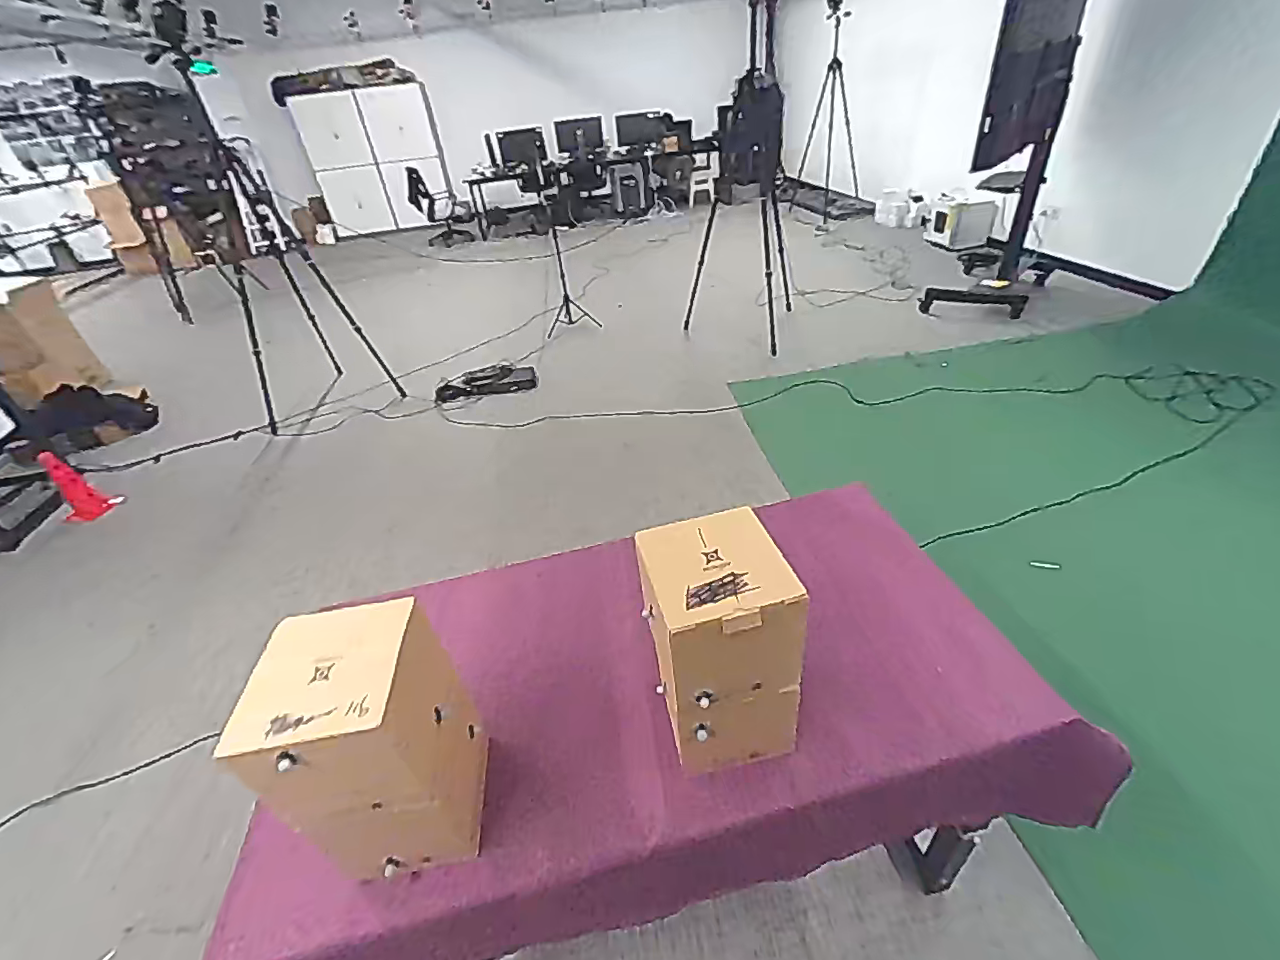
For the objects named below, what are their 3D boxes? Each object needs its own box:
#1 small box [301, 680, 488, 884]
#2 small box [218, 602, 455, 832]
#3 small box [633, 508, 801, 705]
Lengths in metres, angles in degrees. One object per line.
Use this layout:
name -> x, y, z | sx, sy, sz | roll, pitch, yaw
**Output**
small box -> -0.315, 0.410, 0.742 | 0.168, 0.176, 0.179 | -10, 36, -2
small box -> -0.335, 0.278, 0.645 | 0.168, 0.176, 0.179 | -11, 35, -2
small box -> 0.097, 0.169, 0.710 | 0.168, 0.176, 0.179 | -13, 35, -7
